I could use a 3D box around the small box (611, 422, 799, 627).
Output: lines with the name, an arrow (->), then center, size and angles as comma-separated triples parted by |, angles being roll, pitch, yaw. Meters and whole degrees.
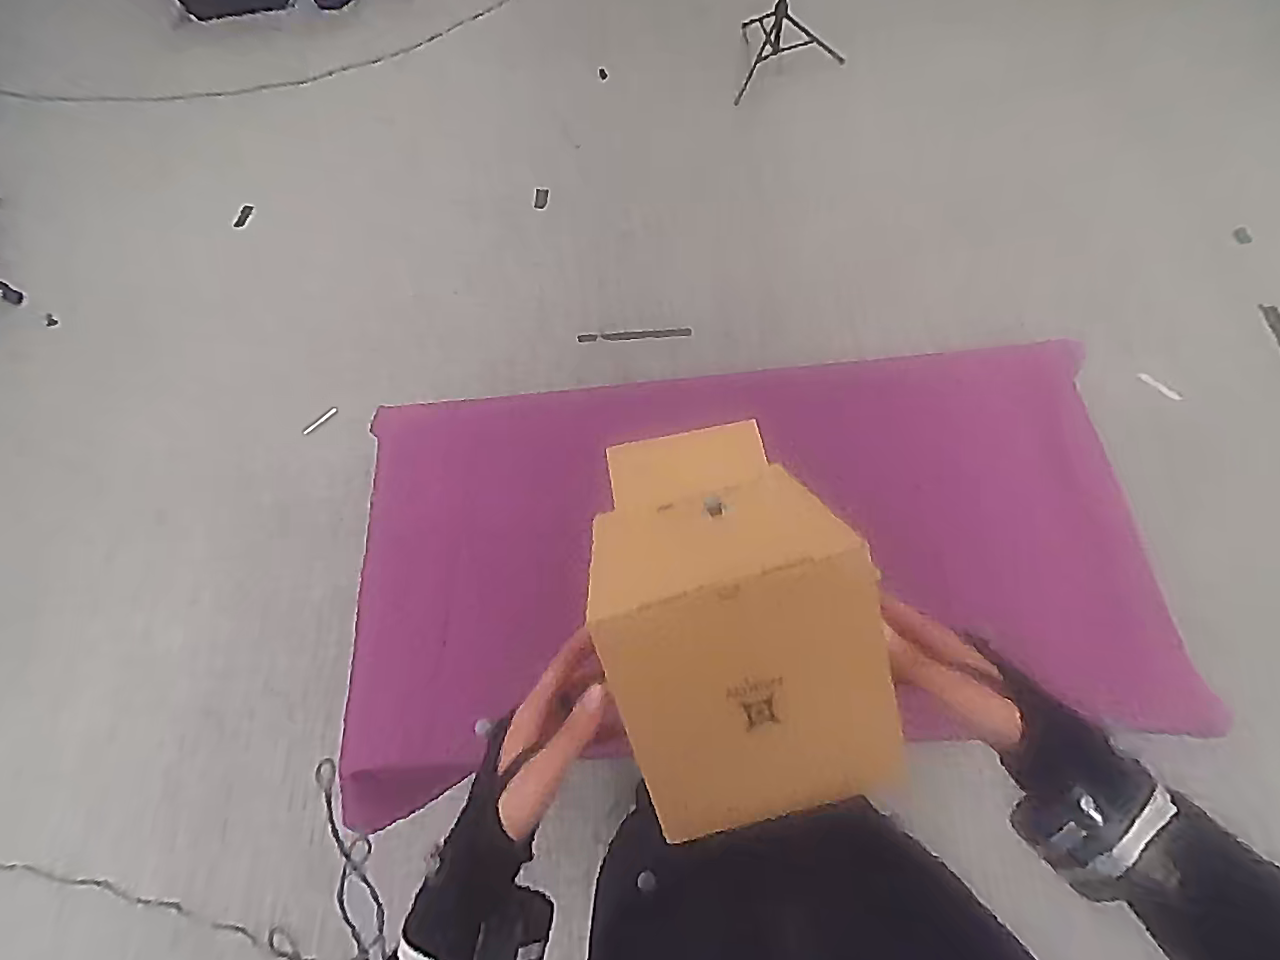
small box -> 0.067, 0.060, 0.620 | 0.168, 0.176, 0.179 | -11, 67, 3
